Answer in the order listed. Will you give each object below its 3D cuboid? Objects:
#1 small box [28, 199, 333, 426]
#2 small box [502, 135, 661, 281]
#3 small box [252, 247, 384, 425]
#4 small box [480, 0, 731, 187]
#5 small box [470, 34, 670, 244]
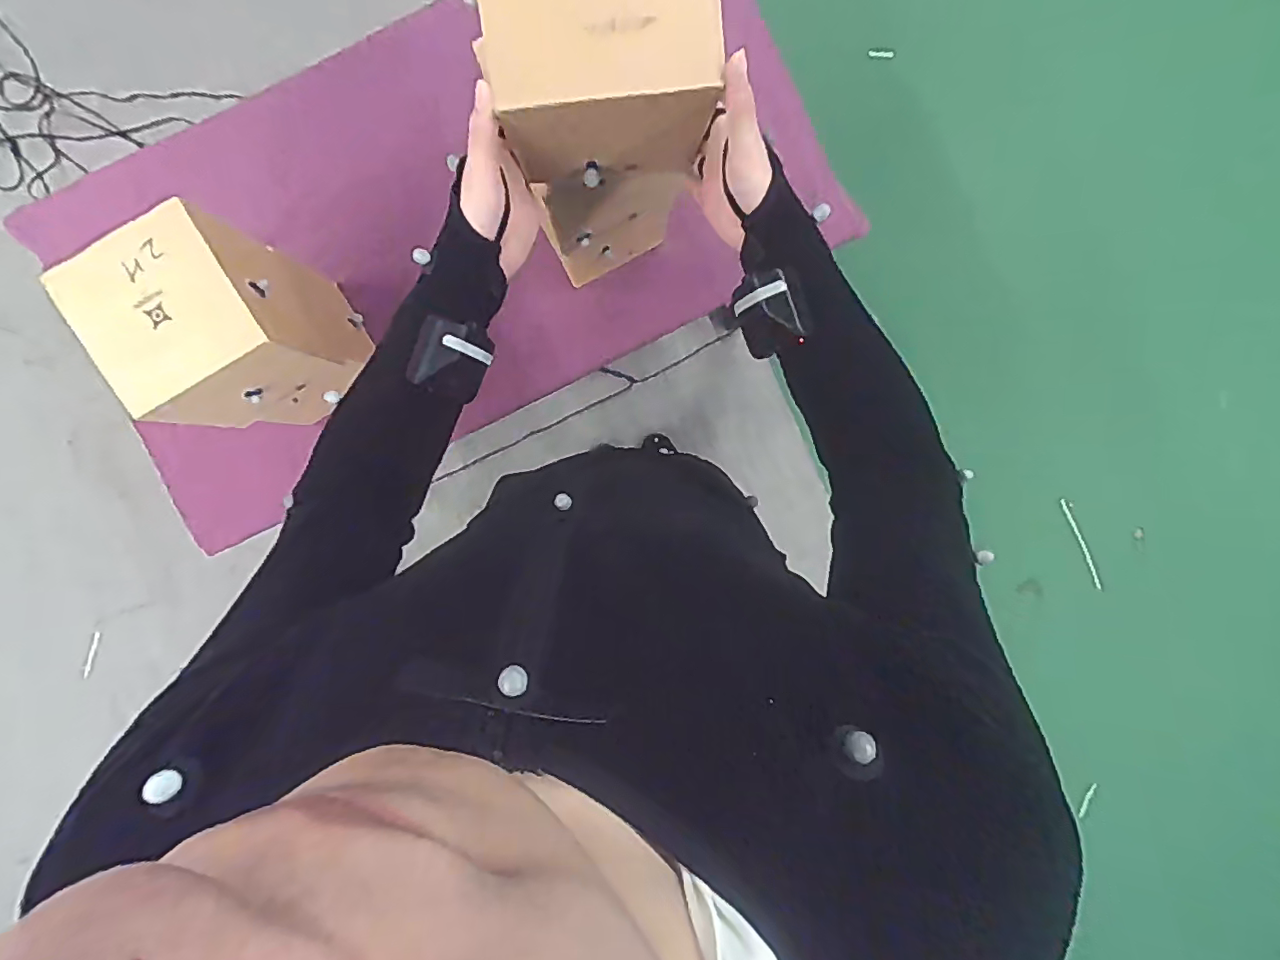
[{"bbox_3d":[-0.504,-0.174,0.627,0.168,0.176,0.179,-31,94,-2],"label":"small box"},{"bbox_3d":[-0.074,-0.418,0.798,0.168,0.176,0.179,-28,92,0],"label":"small box"},{"bbox_3d":[-0.519,-0.195,0.790,0.168,0.176,0.179,-32,93,0],"label":"small box"},{"bbox_3d":[-0.032,-0.357,0.427,0.168,0.176,0.179,-6,103,-2],"label":"small box"},{"bbox_3d":[-0.066,-0.405,0.634,0.168,0.176,0.179,-25,91,-1],"label":"small box"}]
